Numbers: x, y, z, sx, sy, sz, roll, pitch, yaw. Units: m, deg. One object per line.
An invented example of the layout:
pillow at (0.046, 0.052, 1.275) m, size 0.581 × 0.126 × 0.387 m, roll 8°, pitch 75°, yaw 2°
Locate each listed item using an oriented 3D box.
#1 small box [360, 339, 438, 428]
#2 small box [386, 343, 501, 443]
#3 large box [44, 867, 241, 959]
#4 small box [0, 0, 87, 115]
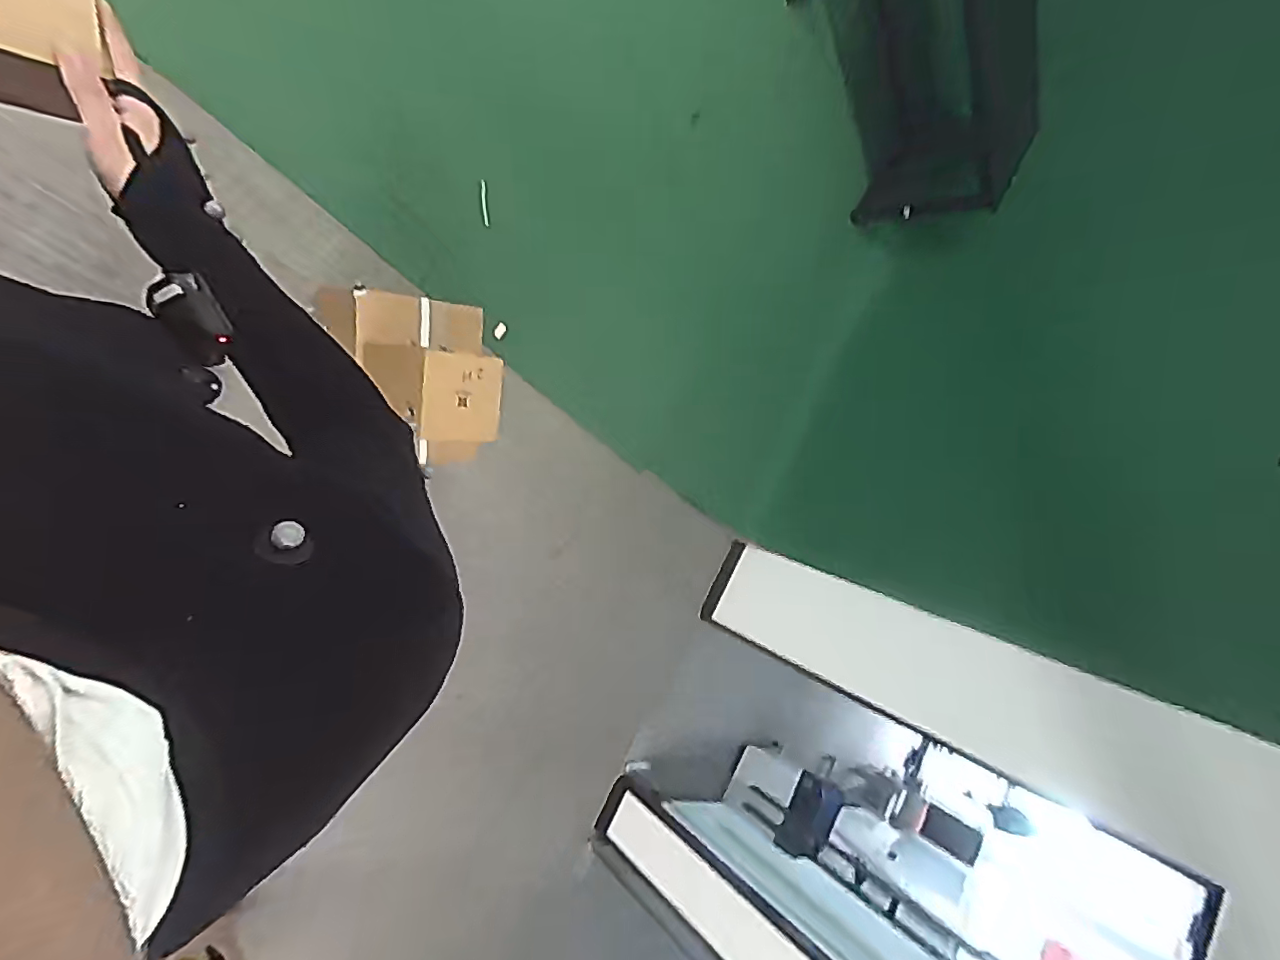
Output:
small box at (-0.526, -0.220, 1.238) m, size 0.168 × 0.176 × 0.179 m, roll -6°, pitch 108°, yaw -44°
small box at (-0.413, -0.180, 1.126) m, size 0.168 × 0.176 × 0.179 m, roll -3°, pitch 107°, yaw -46°
large box at (-1.309, 1.319, 1.358) m, size 0.408 × 0.320 × 0.320 m, roll -37°, pitch 129°, yaw -32°
small box at (-0.542, -0.401, 0.398) m, size 0.179 × 0.176 × 0.168 m, roll -10°, pitch 110°, yaw -45°
